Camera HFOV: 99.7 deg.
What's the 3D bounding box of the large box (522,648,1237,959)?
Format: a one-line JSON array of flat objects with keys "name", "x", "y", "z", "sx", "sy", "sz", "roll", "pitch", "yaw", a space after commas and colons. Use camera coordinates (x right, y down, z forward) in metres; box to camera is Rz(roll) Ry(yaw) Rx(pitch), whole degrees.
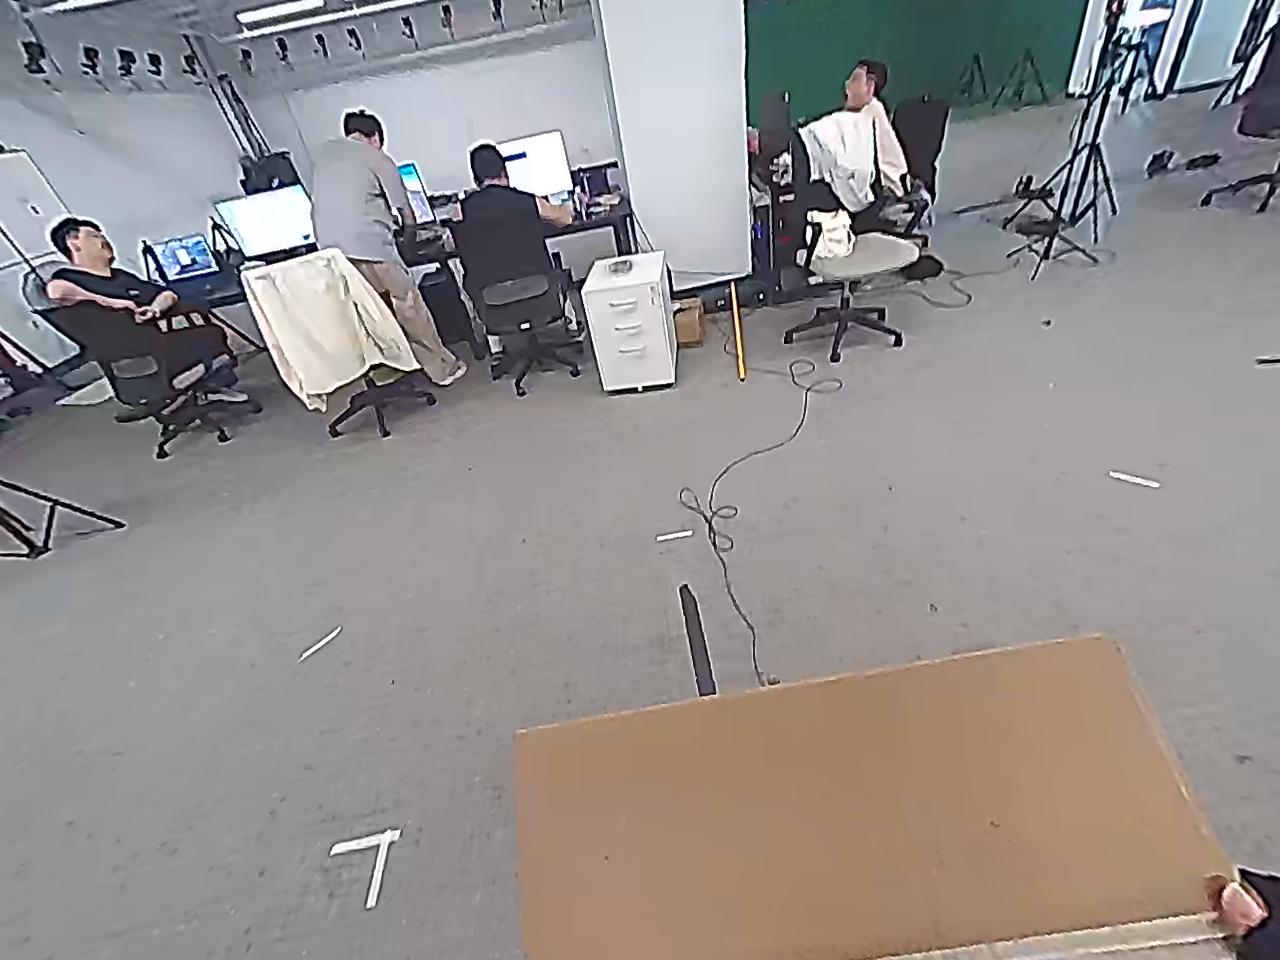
[{"name": "large box", "x": 0.155, "y": 0.346, "z": 0.450, "sx": 0.408, "sy": 0.320, "sz": 0.320, "roll": -11, "pitch": 66, "yaw": 4}]
